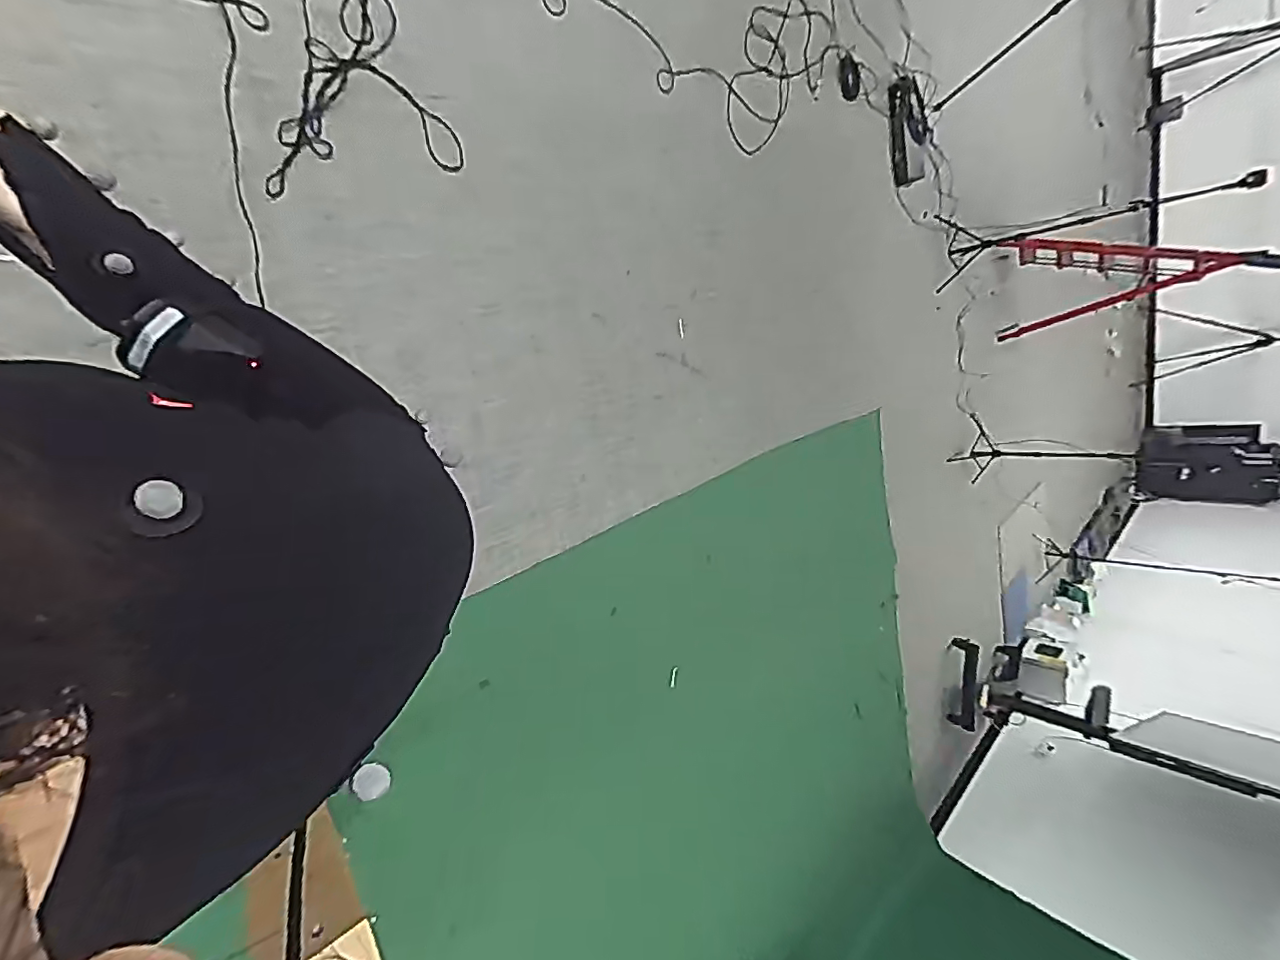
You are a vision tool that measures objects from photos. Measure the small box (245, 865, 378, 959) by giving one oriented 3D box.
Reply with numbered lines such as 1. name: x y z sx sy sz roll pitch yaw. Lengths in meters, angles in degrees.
1. small box: -0.627 0.898 1.035 0.179 0.176 0.168 -18 105 -38

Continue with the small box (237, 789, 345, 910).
1. small box: -0.835 0.877 1.289 0.168 0.176 0.179 -22 109 -37
